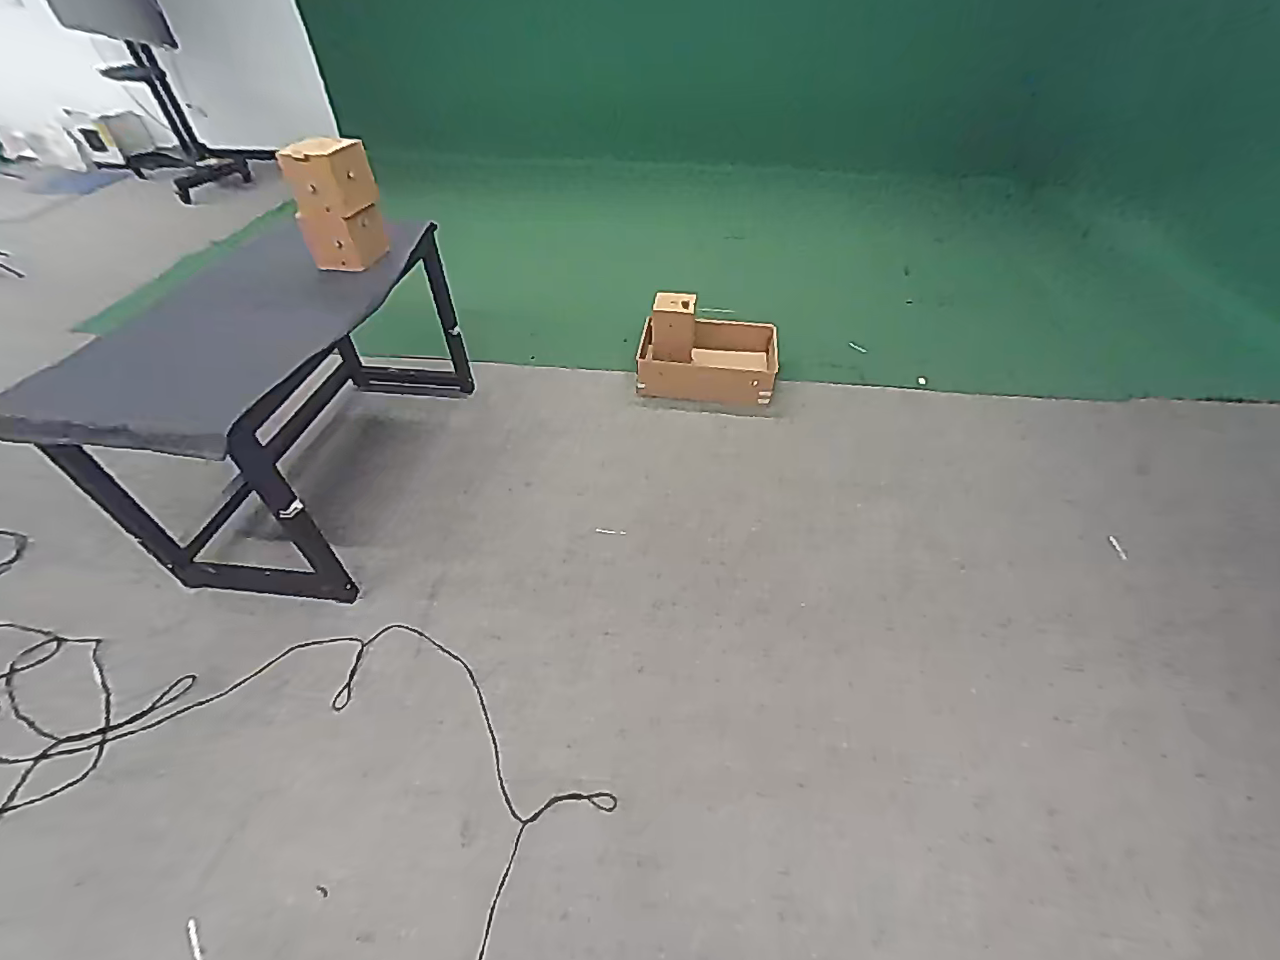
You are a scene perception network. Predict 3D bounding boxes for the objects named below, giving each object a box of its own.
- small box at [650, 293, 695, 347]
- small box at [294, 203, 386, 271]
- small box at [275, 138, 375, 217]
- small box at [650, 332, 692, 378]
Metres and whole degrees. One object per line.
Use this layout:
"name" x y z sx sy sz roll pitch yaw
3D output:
"small box" 0.143 -0.699 2.374 0.179 0.176 0.168 6 46 6
"small box" -0.949 -0.785 1.733 0.168 0.176 0.179 7 45 7
"small box" -0.932 -0.908 1.624 0.168 0.176 0.179 9 46 9
"small box" 0.142 -0.588 2.494 0.179 0.176 0.168 6 47 5
